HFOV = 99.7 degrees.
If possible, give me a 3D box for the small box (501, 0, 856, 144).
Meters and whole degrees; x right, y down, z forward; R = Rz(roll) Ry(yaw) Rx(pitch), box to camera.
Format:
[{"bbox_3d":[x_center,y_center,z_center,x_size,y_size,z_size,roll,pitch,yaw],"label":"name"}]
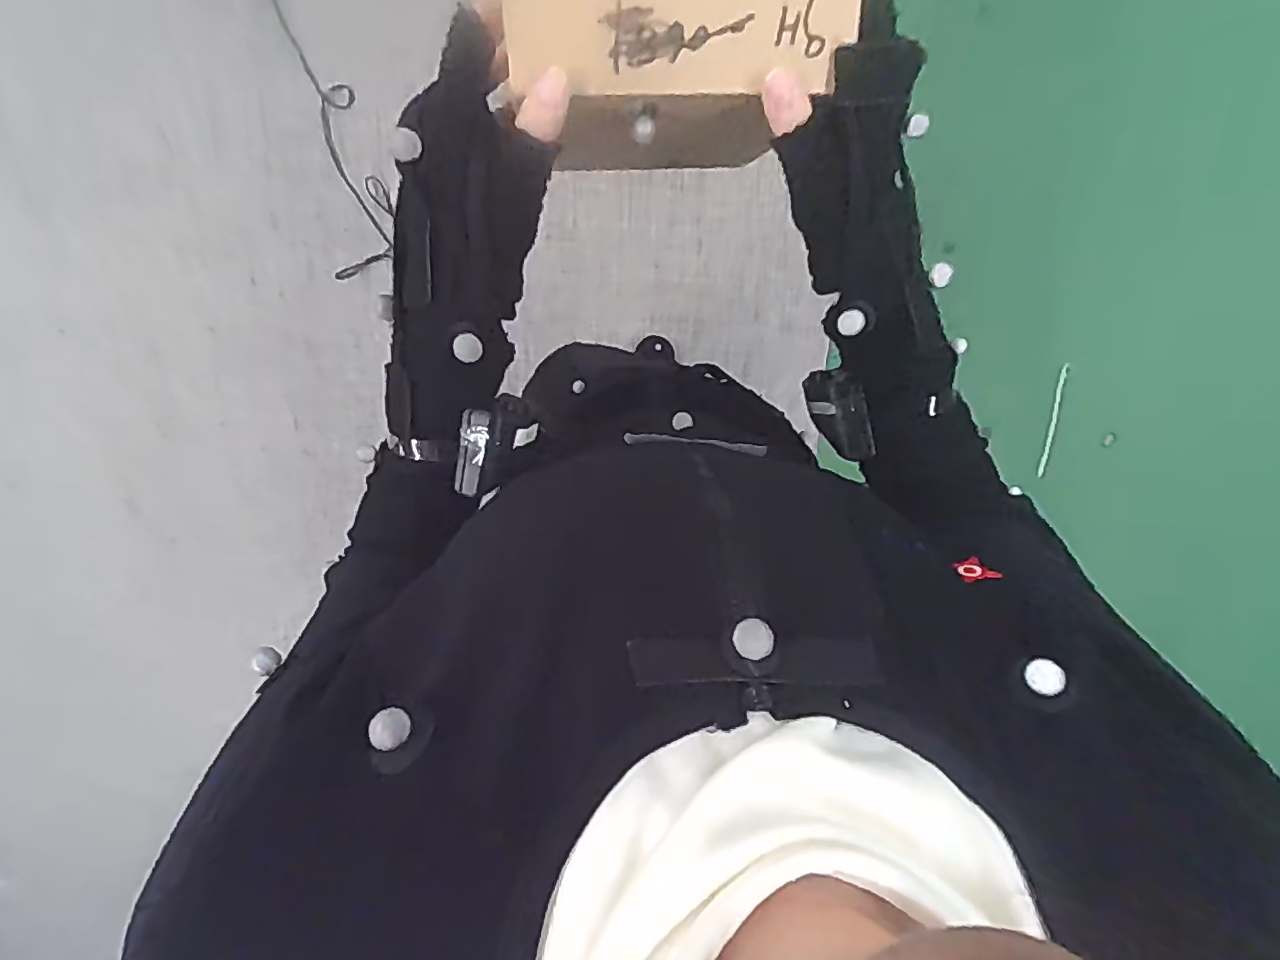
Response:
[{"bbox_3d":[0.007,-0.307,0.296,0.168,0.176,0.179,-5,109,-6],"label":"small box"}]
